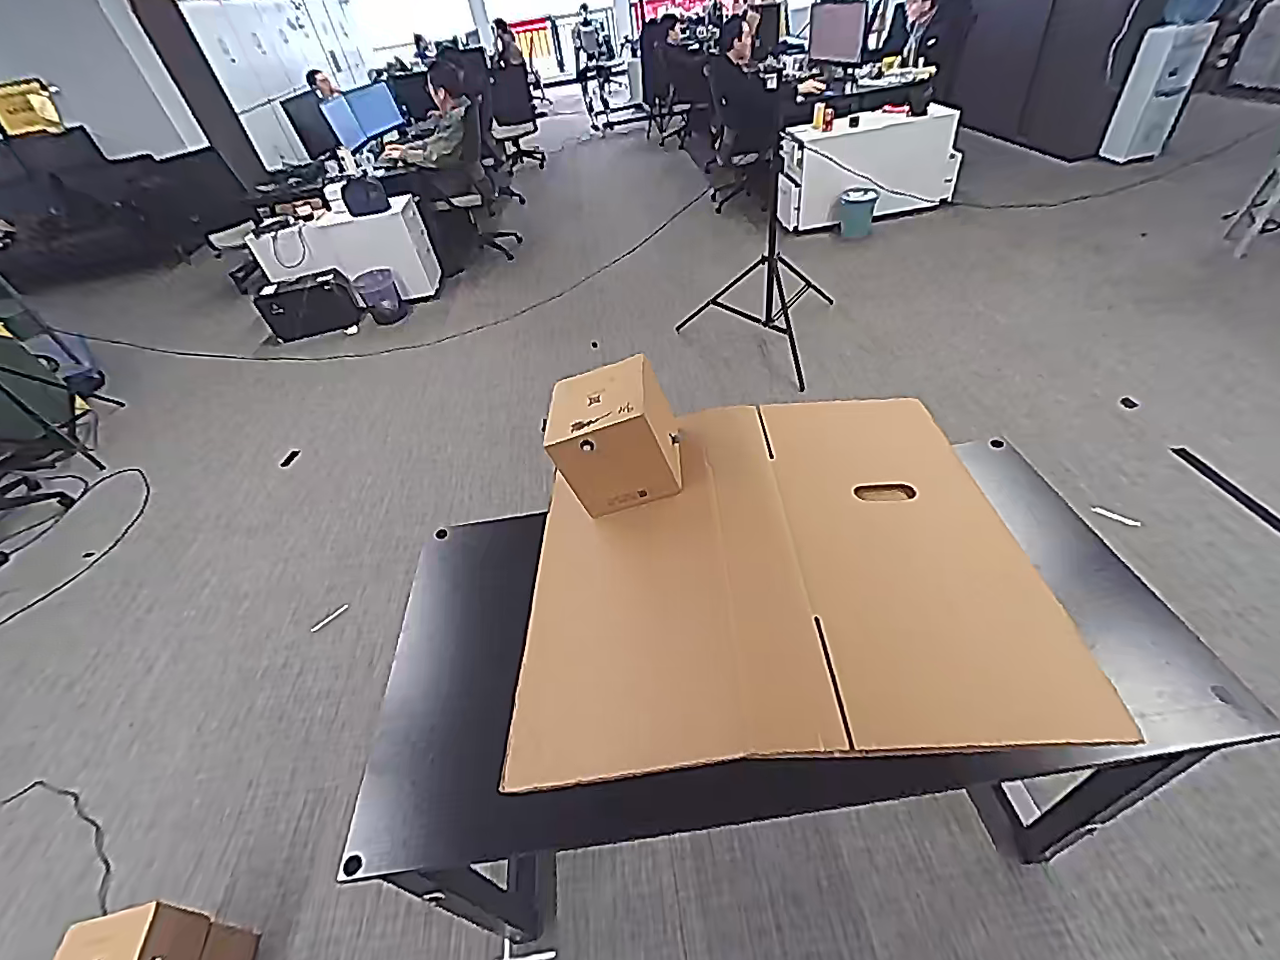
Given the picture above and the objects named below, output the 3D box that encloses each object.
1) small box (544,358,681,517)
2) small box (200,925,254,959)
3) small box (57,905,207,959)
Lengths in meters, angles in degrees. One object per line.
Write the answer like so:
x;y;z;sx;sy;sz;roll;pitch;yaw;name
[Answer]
-0.037;-0.069;0.897;0.168;0.176;0.179;-17;39;15;small box
-0.963;1.080;1.141;0.168;0.176;0.179;-12;43;-2;small box
-0.987;0.958;1.036;0.168;0.176;0.179;-13;41;-5;small box
